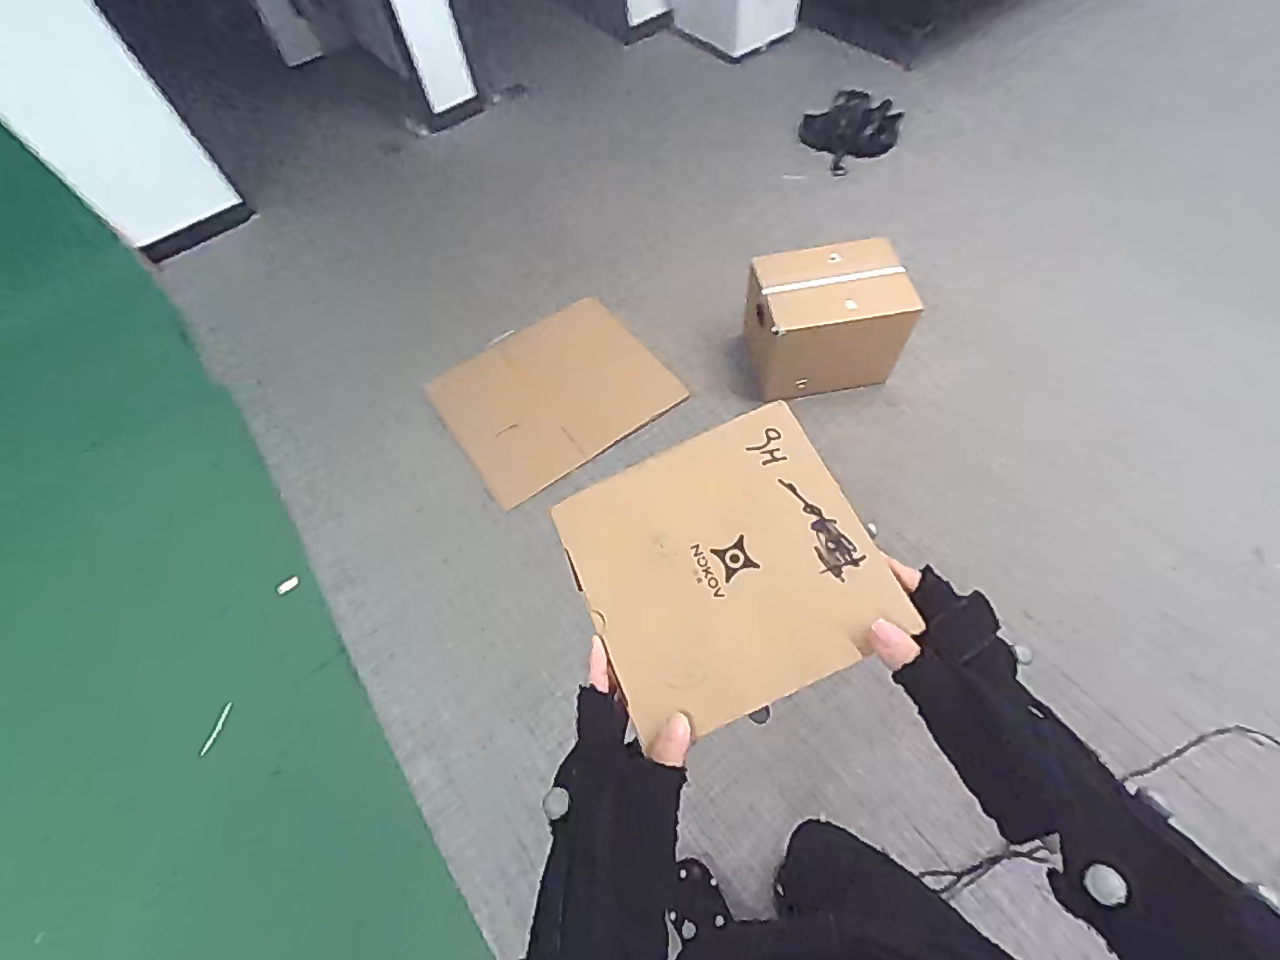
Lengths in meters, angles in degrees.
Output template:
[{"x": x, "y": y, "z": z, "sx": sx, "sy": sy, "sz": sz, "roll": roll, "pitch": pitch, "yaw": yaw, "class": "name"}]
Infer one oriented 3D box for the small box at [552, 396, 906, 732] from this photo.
[{"x": 0.061, "y": 0.074, "z": 0.417, "sx": 0.179, "sy": 0.176, "sz": 0.168, "roll": -27, "pitch": 66, "yaw": -2, "class": "small box"}]
